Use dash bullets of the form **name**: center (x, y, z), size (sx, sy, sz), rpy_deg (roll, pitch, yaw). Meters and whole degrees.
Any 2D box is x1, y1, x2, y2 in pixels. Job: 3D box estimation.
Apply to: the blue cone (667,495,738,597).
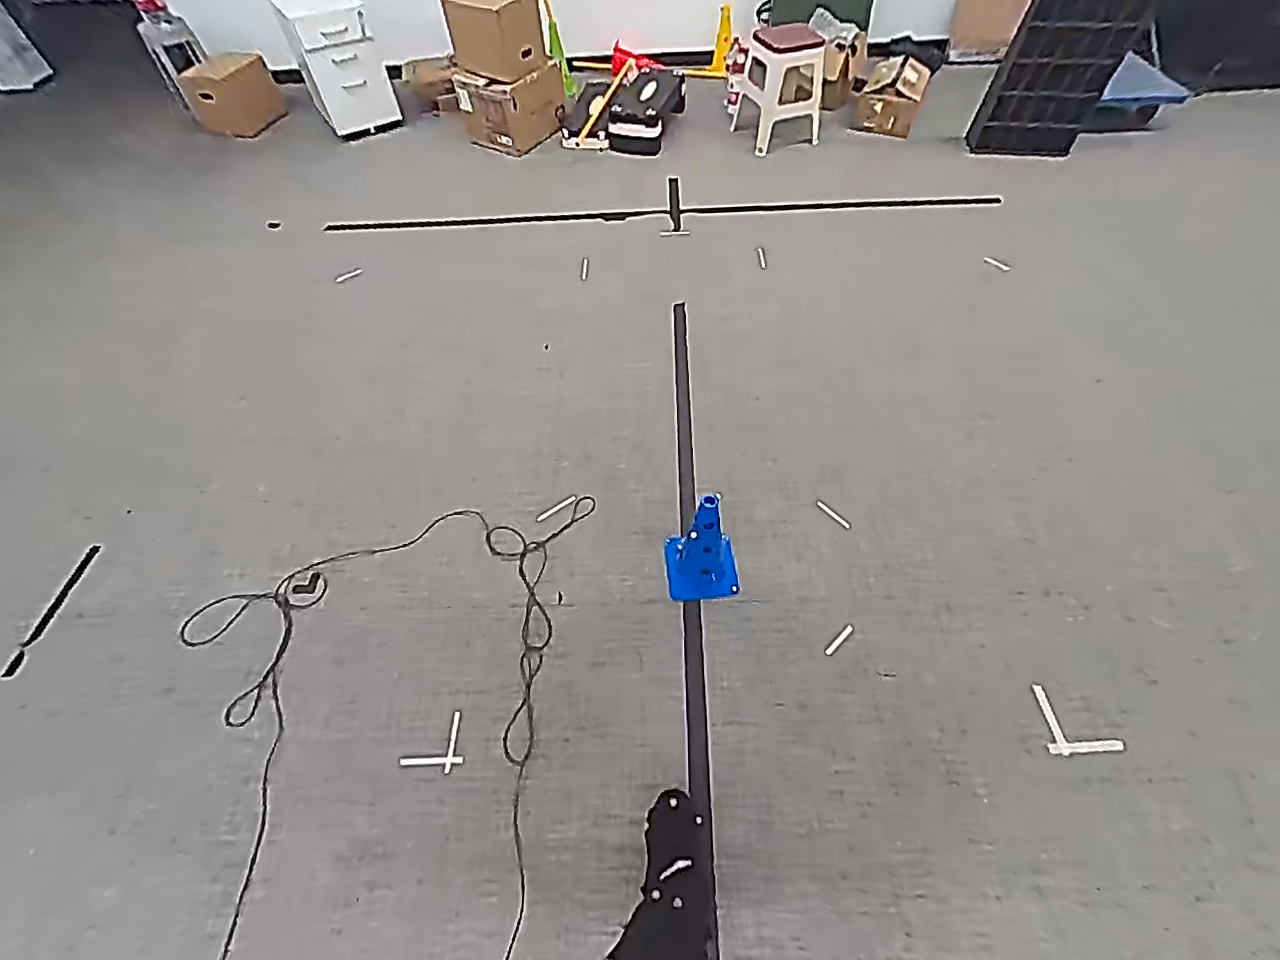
- **blue cone**: center (0.176, 0.156, 1.442), size (0.192, 0.380, 0.193), rpy_deg (-3, 55, -1)
